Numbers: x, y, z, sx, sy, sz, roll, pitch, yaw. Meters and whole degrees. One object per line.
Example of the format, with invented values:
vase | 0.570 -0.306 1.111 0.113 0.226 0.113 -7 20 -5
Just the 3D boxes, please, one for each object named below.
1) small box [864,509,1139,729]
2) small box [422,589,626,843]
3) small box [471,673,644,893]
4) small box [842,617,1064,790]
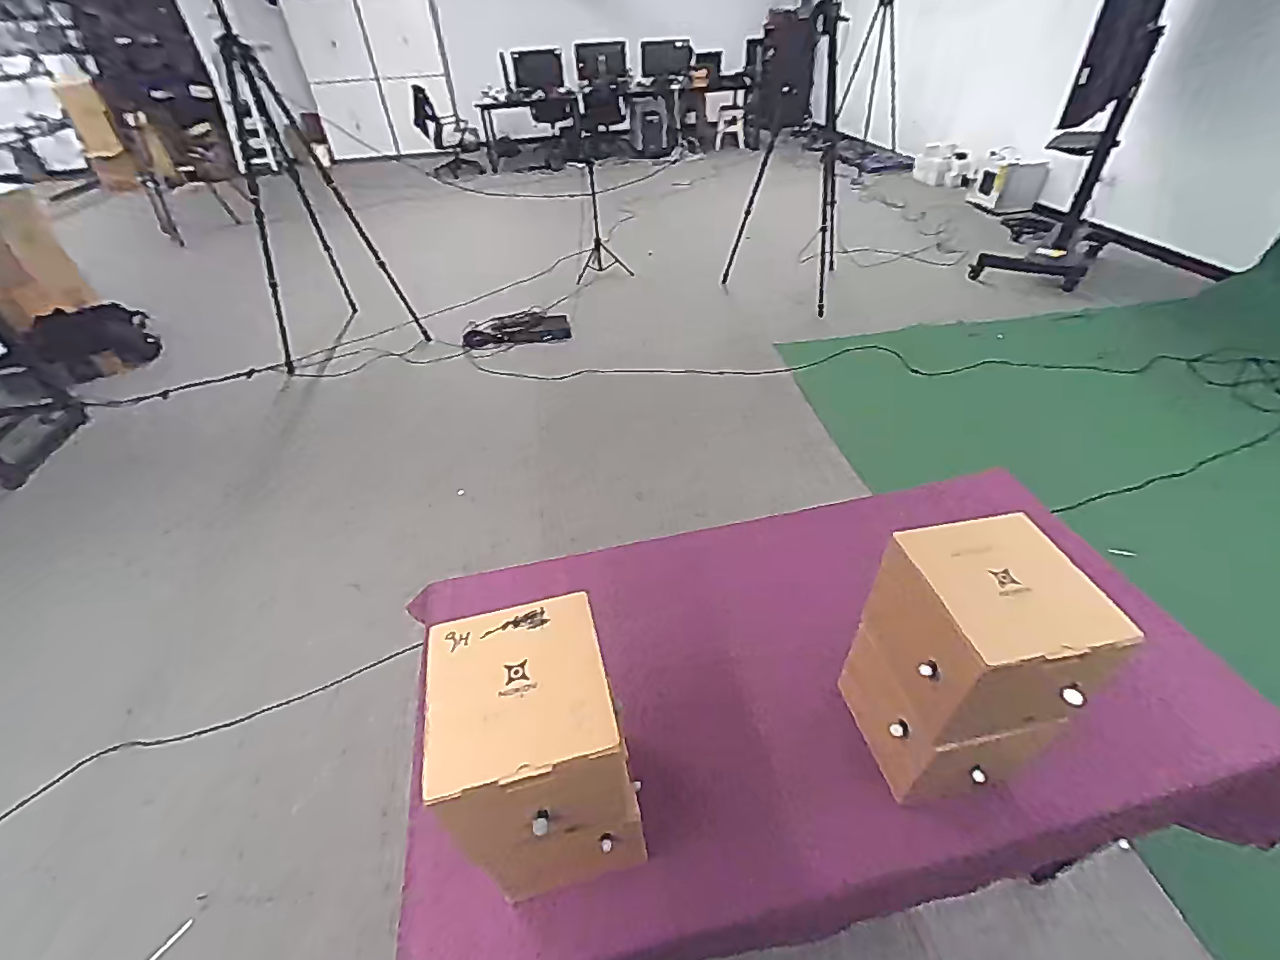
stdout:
small box | 0.383 0.161 0.616 0.168 0.176 0.179 -8 40 -4
small box | -0.114 0.248 0.563 0.168 0.176 0.179 -11 41 -9
small box | -0.099 0.374 0.668 0.179 0.176 0.168 -11 41 -9
small box | 0.394 0.287 0.719 0.168 0.176 0.179 -9 41 -6
